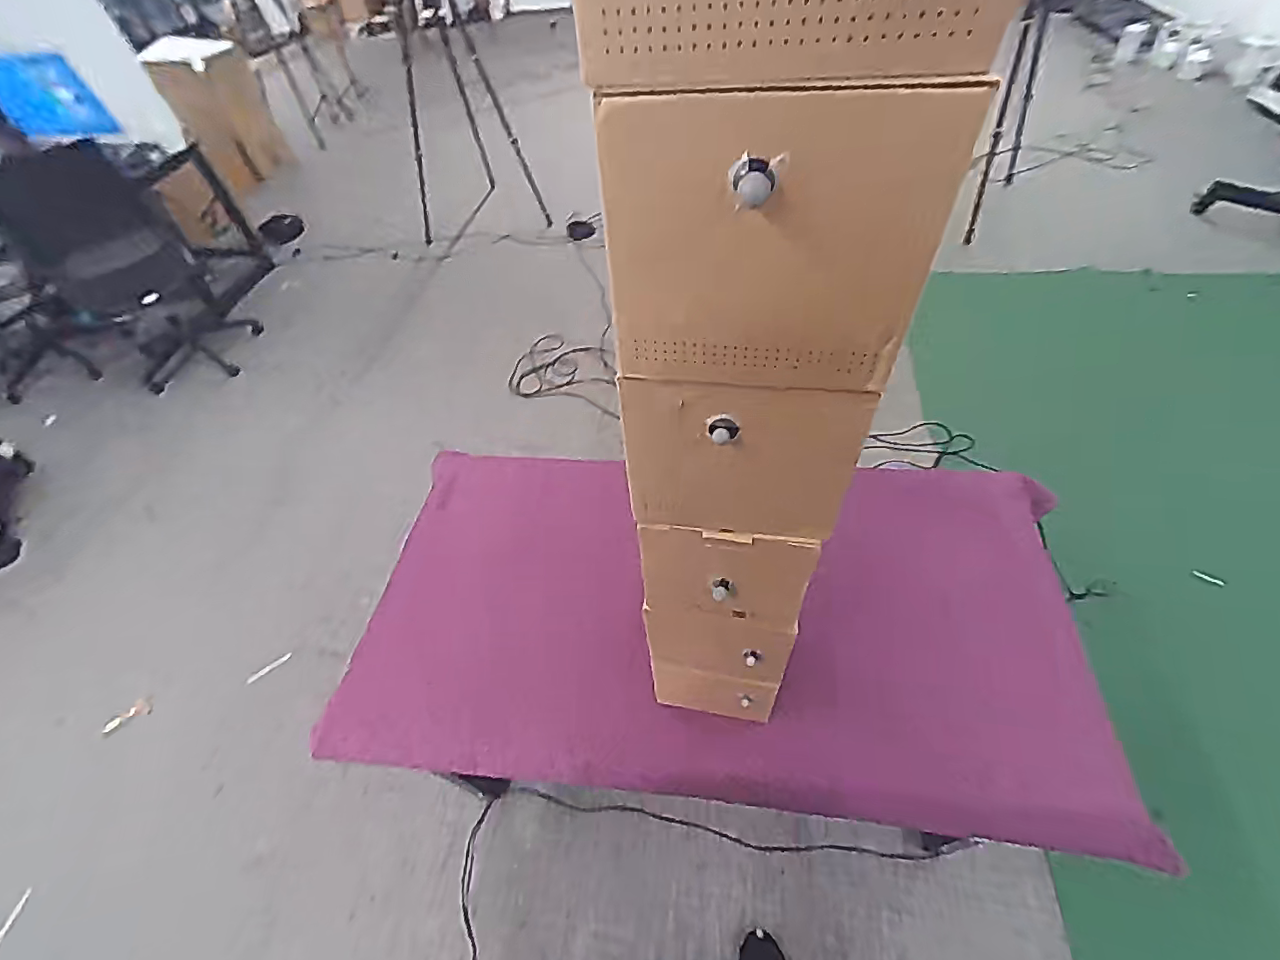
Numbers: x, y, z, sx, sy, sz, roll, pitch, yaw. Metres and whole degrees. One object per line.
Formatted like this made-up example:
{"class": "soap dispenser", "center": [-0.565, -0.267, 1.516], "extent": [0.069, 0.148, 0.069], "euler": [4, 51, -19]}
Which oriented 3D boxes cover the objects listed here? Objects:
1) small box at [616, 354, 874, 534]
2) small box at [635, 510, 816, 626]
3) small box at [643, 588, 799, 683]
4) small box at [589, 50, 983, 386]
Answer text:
{"class": "small box", "center": [0.087, -0.068, 0.473], "extent": [0.179, 0.176, 0.168], "euler": [5, 50, 9]}
{"class": "small box", "center": [0.098, 0.041, 0.595], "extent": [0.168, 0.176, 0.179], "euler": [6, 51, 11]}
{"class": "small box", "center": [0.110, 0.151, 0.714], "extent": [0.179, 0.176, 0.168], "euler": [6, 50, 12]}
{"class": "small box", "center": [0.081, -0.176, 0.351], "extent": [0.179, 0.176, 0.168], "euler": [5, 50, 10]}
